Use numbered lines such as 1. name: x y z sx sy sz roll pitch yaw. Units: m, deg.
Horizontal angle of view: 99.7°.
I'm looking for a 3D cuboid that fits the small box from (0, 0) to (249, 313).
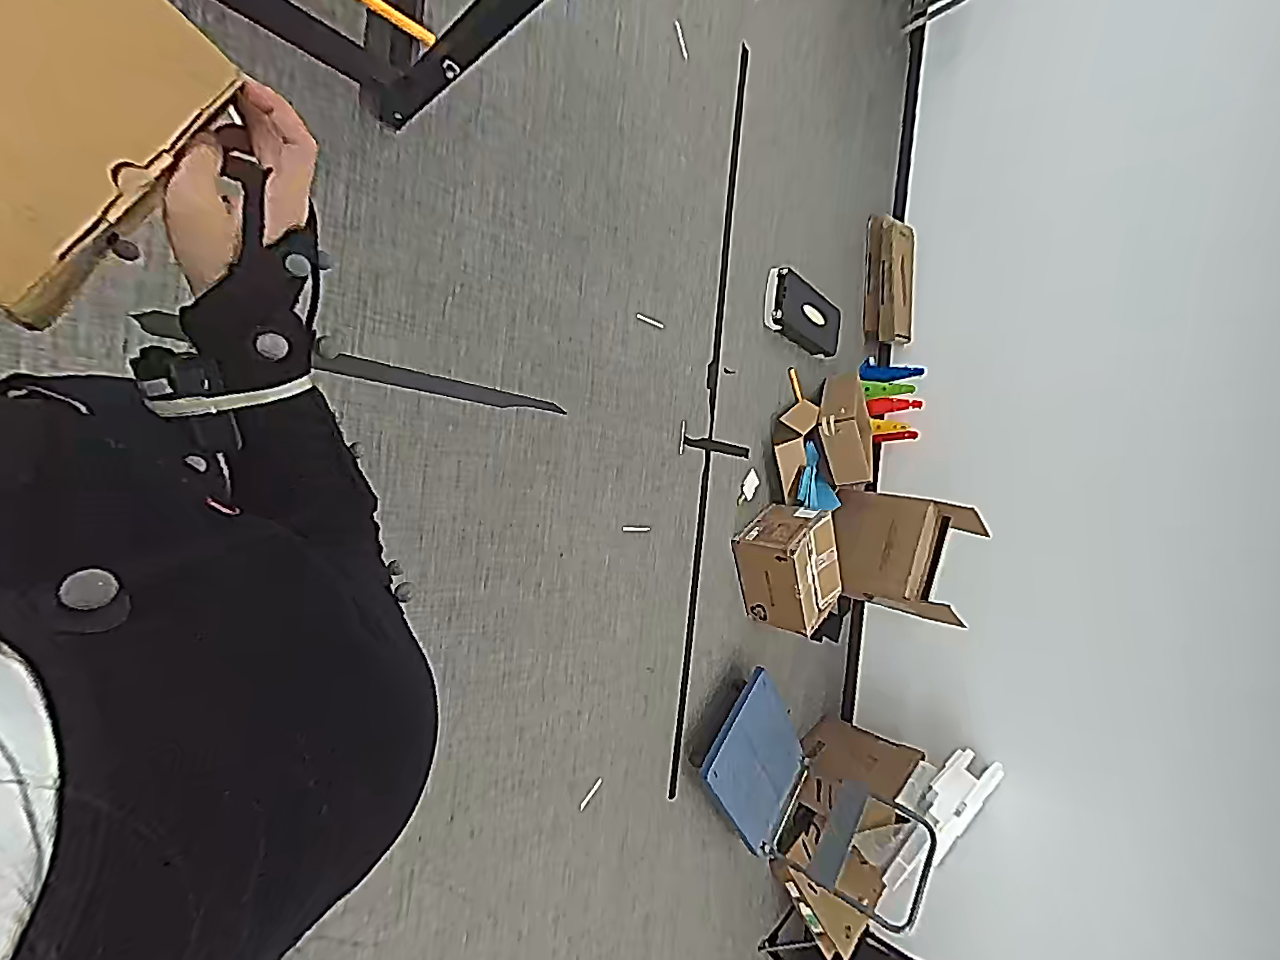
1. small box: -0.350 -0.199 0.266 0.179 0.176 0.168 43 68 -44
